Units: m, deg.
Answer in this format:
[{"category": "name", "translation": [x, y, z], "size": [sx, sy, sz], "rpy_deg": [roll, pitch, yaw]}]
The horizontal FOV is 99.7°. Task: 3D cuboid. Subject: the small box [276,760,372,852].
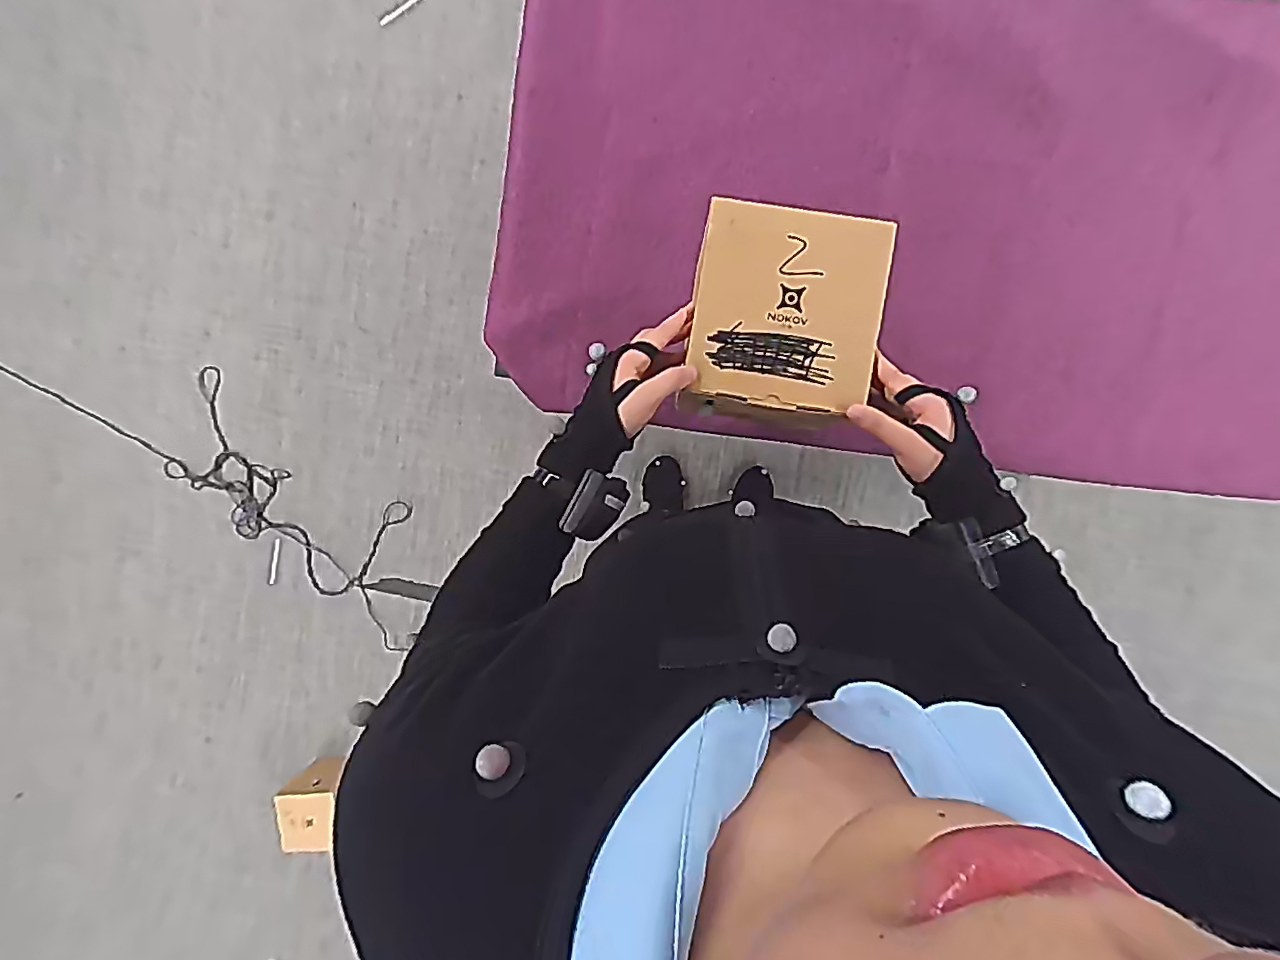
[{"category": "small box", "translation": [-0.896, 0.930, 1.555], "size": [0.179, 0.176, 0.168], "rpy_deg": [-6, 93, 6]}]
